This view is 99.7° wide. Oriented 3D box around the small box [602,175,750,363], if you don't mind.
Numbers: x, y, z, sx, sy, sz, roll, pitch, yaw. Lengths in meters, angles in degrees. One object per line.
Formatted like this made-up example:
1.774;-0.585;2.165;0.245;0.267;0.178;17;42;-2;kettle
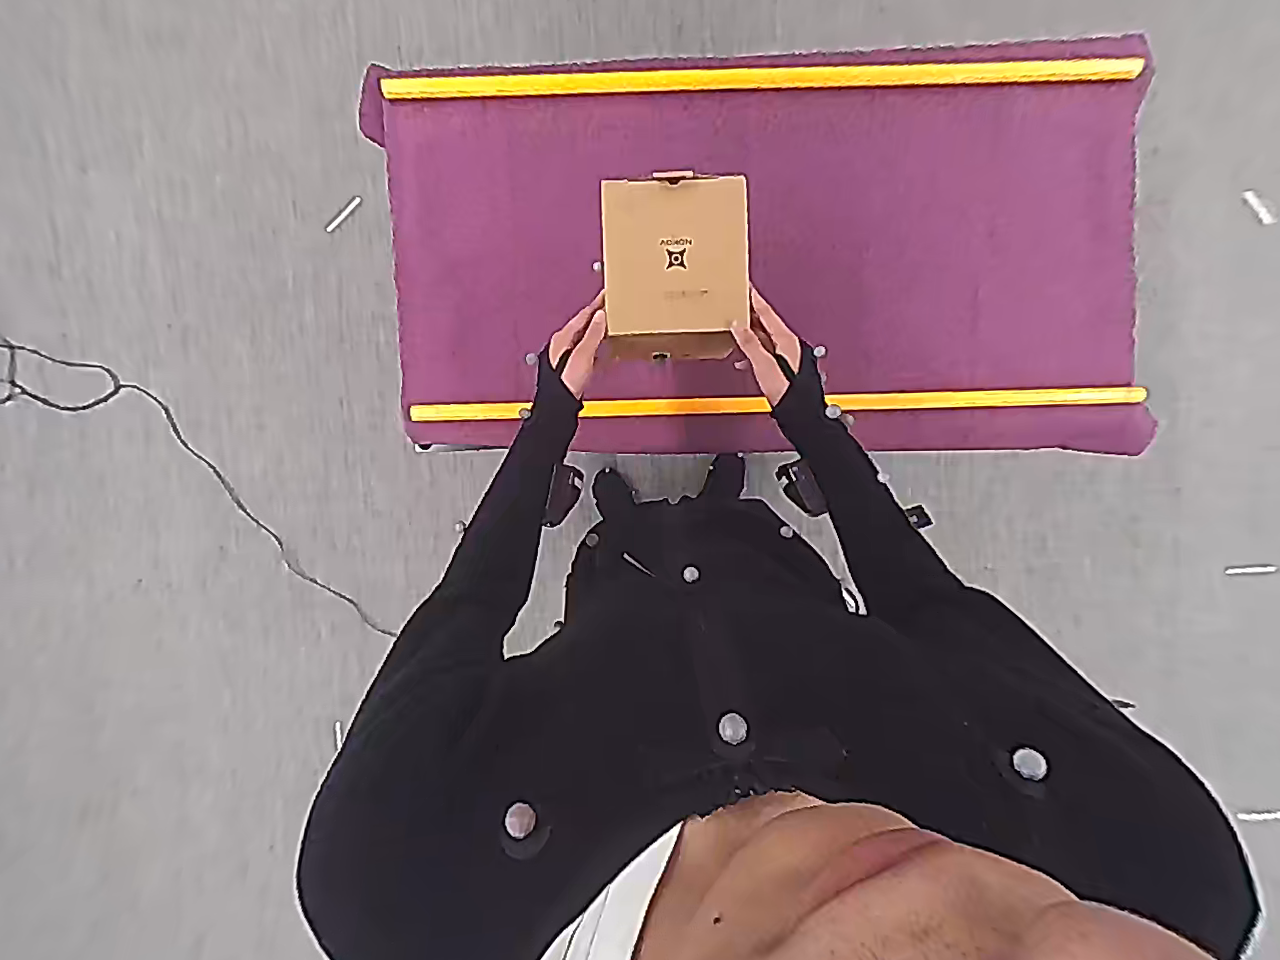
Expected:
0.039;-0.255;0.686;0.168;0.176;0.179;-2;91;0;small box
